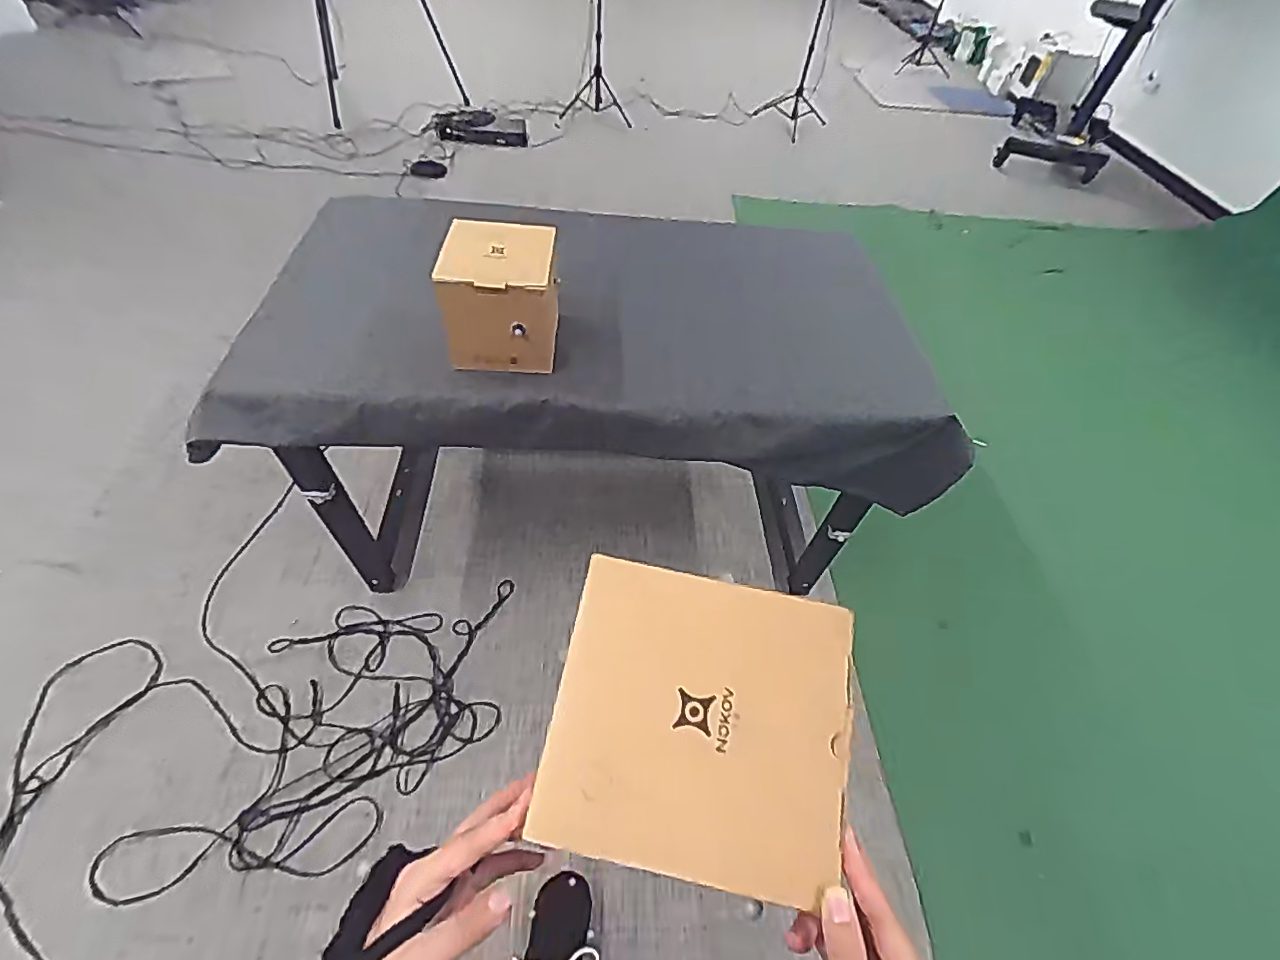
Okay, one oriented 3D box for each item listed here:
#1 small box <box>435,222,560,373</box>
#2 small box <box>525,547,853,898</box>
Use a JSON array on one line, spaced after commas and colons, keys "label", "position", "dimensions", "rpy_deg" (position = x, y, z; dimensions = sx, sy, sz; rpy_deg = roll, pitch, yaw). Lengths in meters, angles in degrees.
[{"label": "small box", "position": [-0.221, -0.295, 0.888], "dimensions": [0.168, 0.176, 0.179], "rpy_deg": [3, 51, -6]}, {"label": "small box", "position": [0.035, 0.166, 0.395], "dimensions": [0.179, 0.176, 0.168], "rpy_deg": [12, 66, 3]}]
